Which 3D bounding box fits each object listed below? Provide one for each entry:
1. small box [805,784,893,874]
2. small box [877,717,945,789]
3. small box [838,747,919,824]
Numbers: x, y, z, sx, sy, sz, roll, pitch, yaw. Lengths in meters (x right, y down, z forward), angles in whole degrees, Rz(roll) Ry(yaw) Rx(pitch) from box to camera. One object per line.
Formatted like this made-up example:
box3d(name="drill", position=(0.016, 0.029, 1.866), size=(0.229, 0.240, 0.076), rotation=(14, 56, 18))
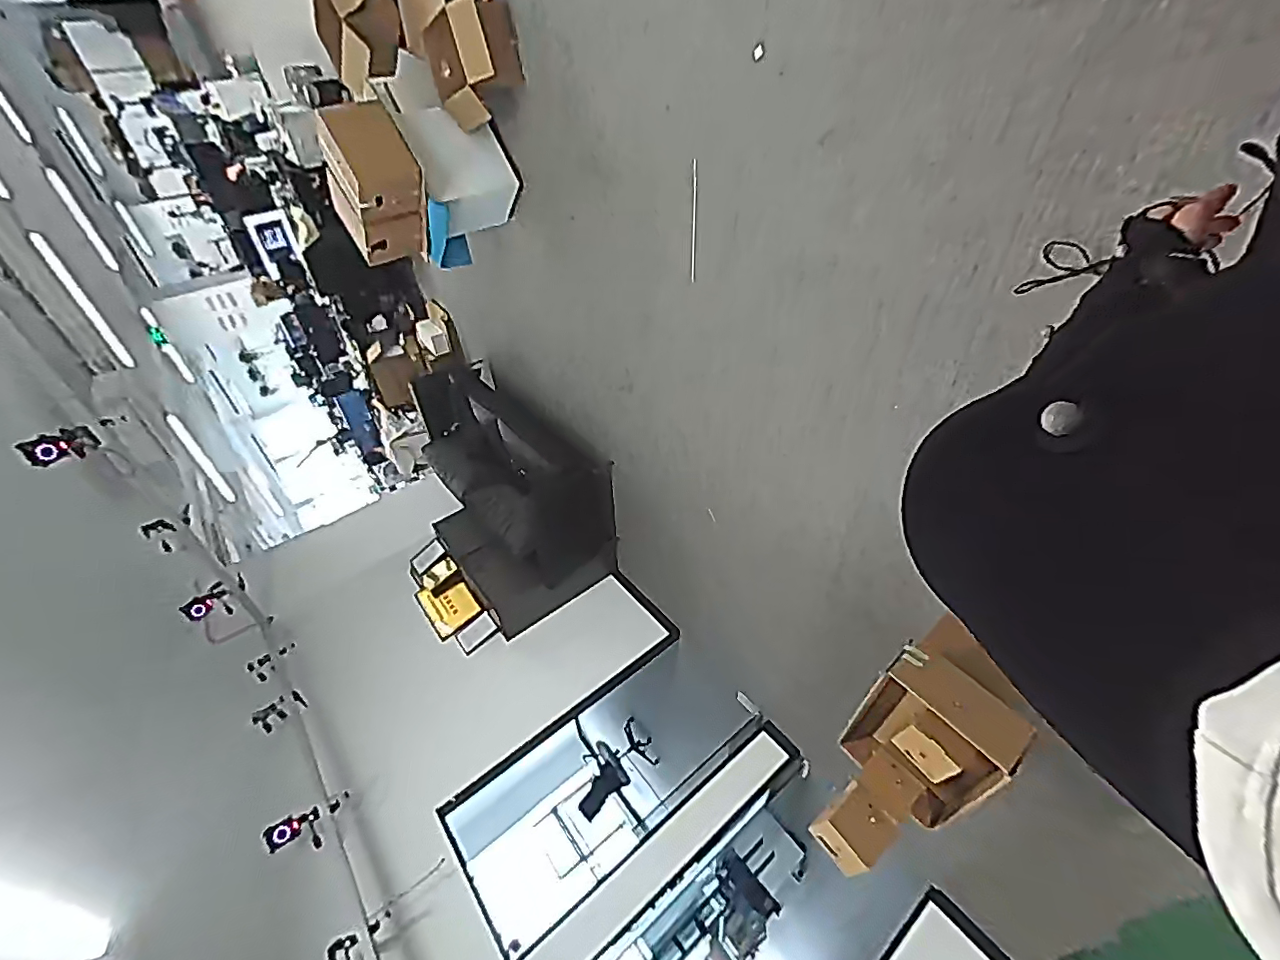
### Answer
box3d(name="small box", position=(0.664, 1.106, 1.719), size=(0.168, 0.176, 0.179), rotation=(46, 147, 27))
box3d(name="small box", position=(0.916, 0.966, 1.871), size=(0.168, 0.176, 0.179), rotation=(40, 145, 34))
box3d(name="small box", position=(0.790, 1.032, 1.794), size=(0.168, 0.176, 0.179), rotation=(41, 145, 35))
